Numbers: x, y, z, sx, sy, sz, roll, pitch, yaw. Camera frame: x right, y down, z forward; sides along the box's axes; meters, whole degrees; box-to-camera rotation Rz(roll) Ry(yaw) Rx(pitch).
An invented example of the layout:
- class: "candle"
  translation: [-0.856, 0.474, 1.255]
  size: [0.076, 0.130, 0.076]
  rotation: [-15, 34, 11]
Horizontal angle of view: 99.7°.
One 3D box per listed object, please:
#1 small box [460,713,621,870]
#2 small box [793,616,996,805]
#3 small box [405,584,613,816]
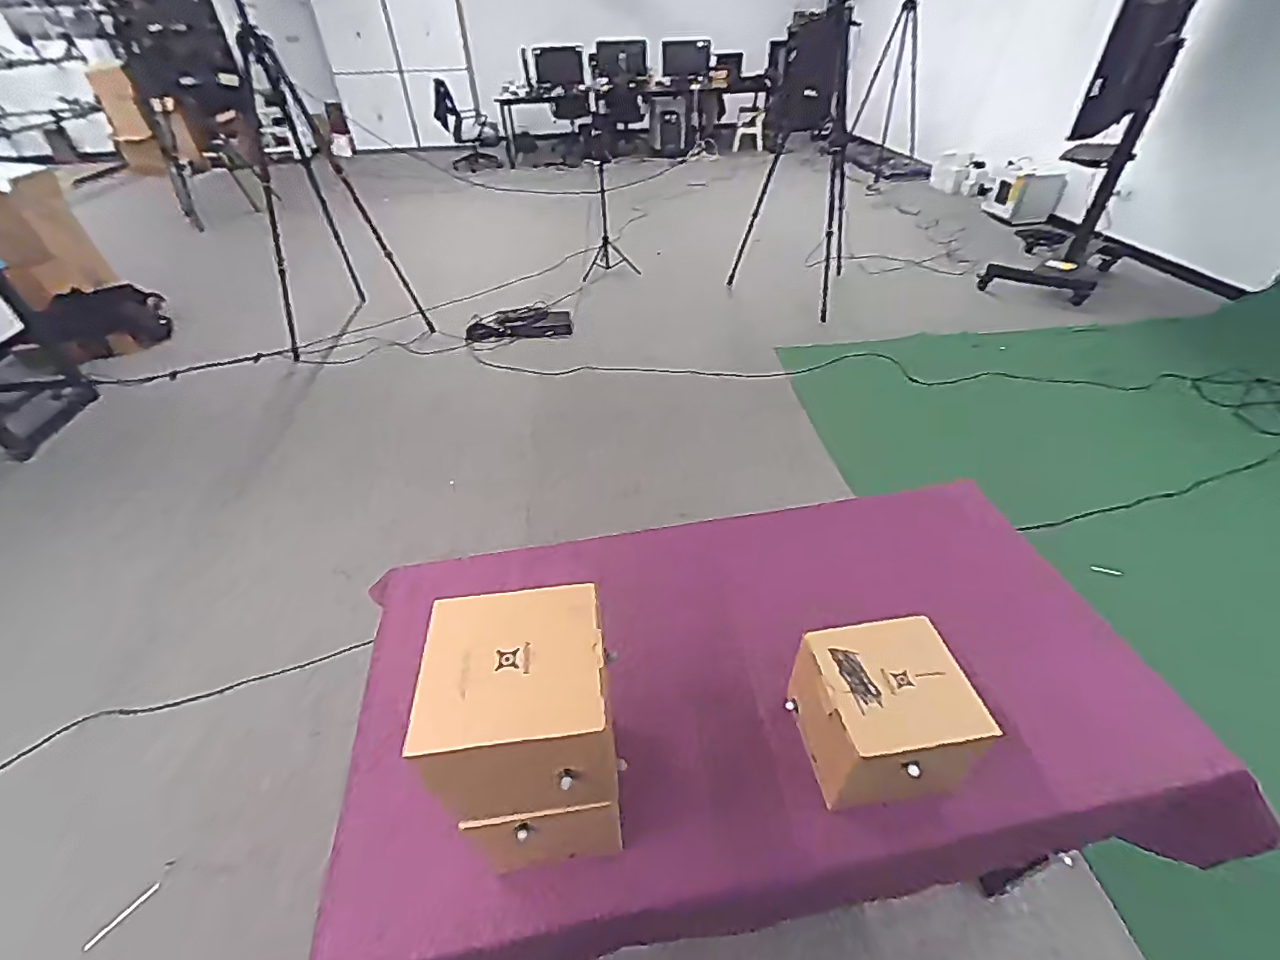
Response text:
- class: "small box"
  translation: [-0.116, 0.358, 0.686]
  size: [0.168, 0.176, 0.179]
  rotation: [-7, 40, -4]
- class: "small box"
  translation: [0.316, 0.308, 0.720]
  size: [0.179, 0.176, 0.168]
  rotation: [-6, 41, -5]
- class: "small box"
  translation: [-0.121, 0.235, 0.579]
  size: [0.179, 0.176, 0.168]
  rotation: [-6, 41, -3]
